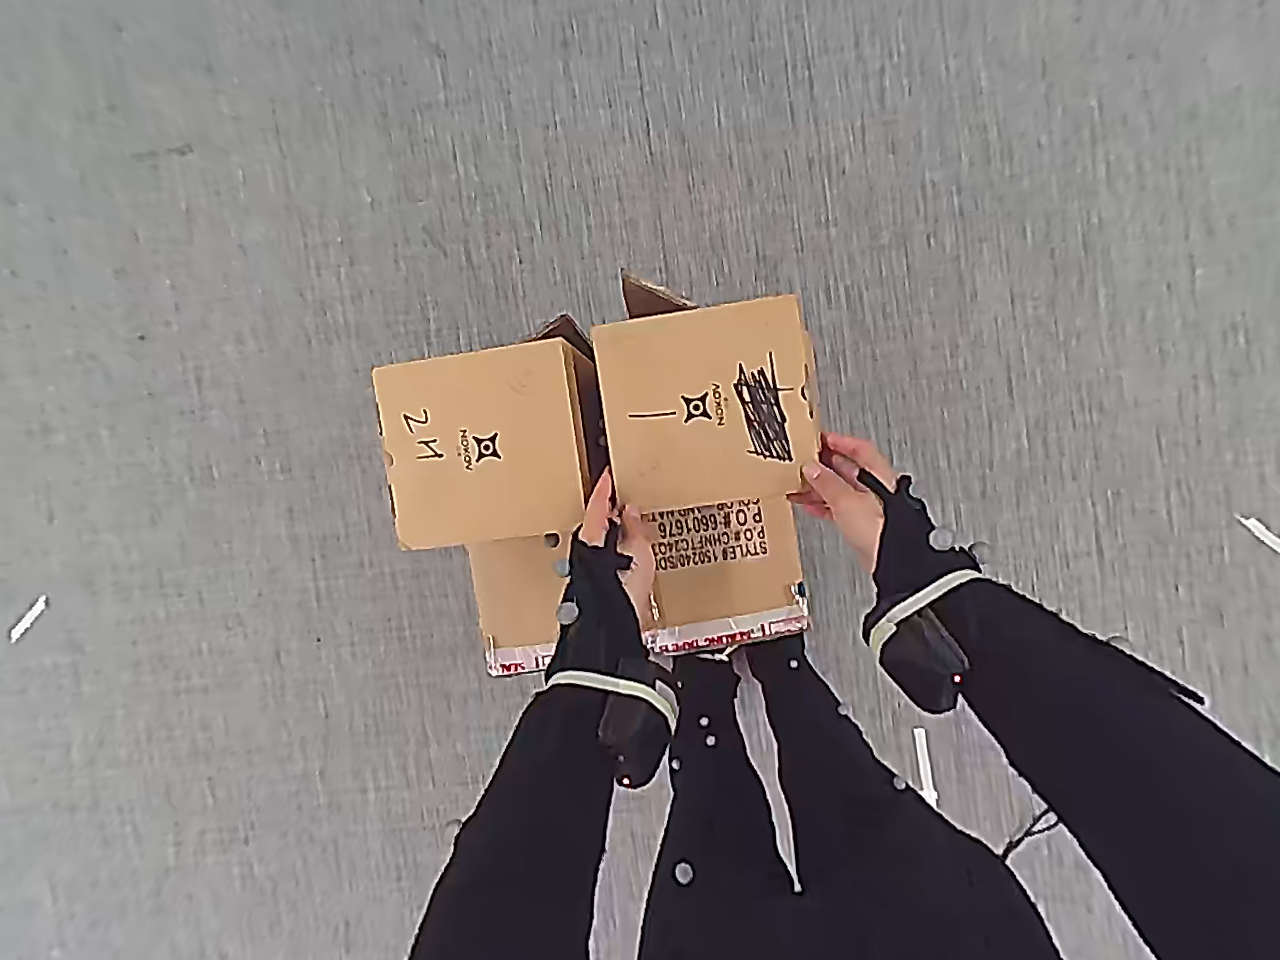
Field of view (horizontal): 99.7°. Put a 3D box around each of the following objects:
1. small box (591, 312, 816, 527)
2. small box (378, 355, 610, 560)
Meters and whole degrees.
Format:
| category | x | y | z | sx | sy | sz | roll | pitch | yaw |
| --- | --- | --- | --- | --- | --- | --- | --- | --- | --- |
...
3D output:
| category | x | y | z | sx | sy | sz | roll | pitch | yaw |
| --- | --- | --- | --- | --- | --- | --- | --- | --- | --- |
| small box | 0.057 | -0.055 | 0.540 | 0.179 | 0.176 | 0.168 | -9 | 92 | 4 |
| small box | -0.130 | -0.022 | 0.554 | 0.179 | 0.176 | 0.168 | -8 | 91 | 7 |
